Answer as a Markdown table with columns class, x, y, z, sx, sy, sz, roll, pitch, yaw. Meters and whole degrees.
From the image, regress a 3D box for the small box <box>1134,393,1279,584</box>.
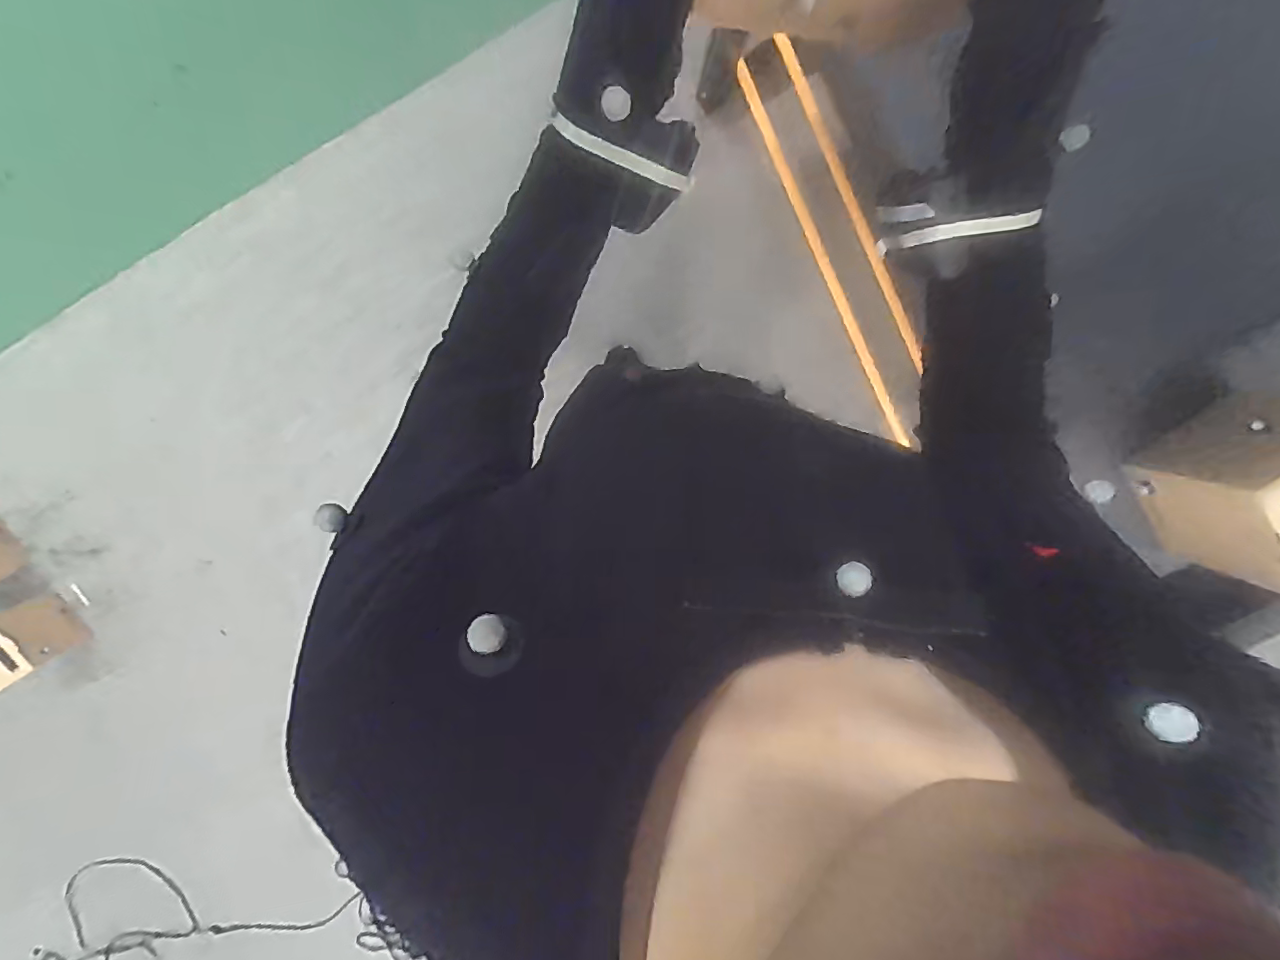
| class | x | y | z | sx | sy | sz | roll | pitch | yaw |
| --- | --- | --- | --- | --- | --- | --- | --- | --- | --- |
| small box | 0.782 | 0.007 | 0.677 | 0.179 | 0.176 | 0.168 | -35 | 101 | 5 |
